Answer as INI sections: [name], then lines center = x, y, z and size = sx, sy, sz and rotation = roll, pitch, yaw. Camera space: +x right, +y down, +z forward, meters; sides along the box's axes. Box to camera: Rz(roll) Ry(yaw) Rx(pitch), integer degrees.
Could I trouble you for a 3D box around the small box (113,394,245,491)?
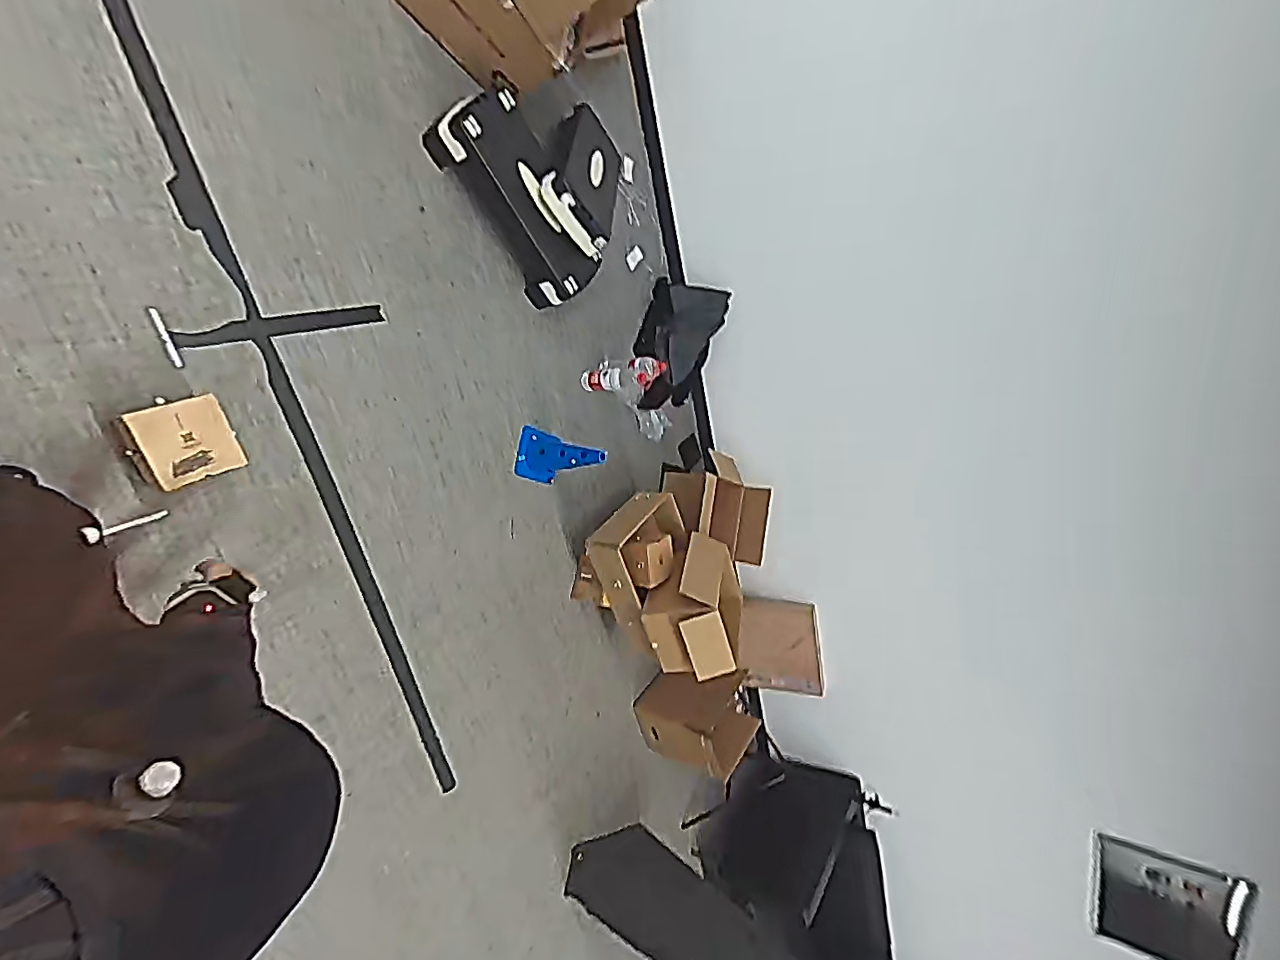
[small box]
center = -1.053, -0.089, 1.236
size = 0.168, 0.176, 0.179
rotation = -33, 116, -44
